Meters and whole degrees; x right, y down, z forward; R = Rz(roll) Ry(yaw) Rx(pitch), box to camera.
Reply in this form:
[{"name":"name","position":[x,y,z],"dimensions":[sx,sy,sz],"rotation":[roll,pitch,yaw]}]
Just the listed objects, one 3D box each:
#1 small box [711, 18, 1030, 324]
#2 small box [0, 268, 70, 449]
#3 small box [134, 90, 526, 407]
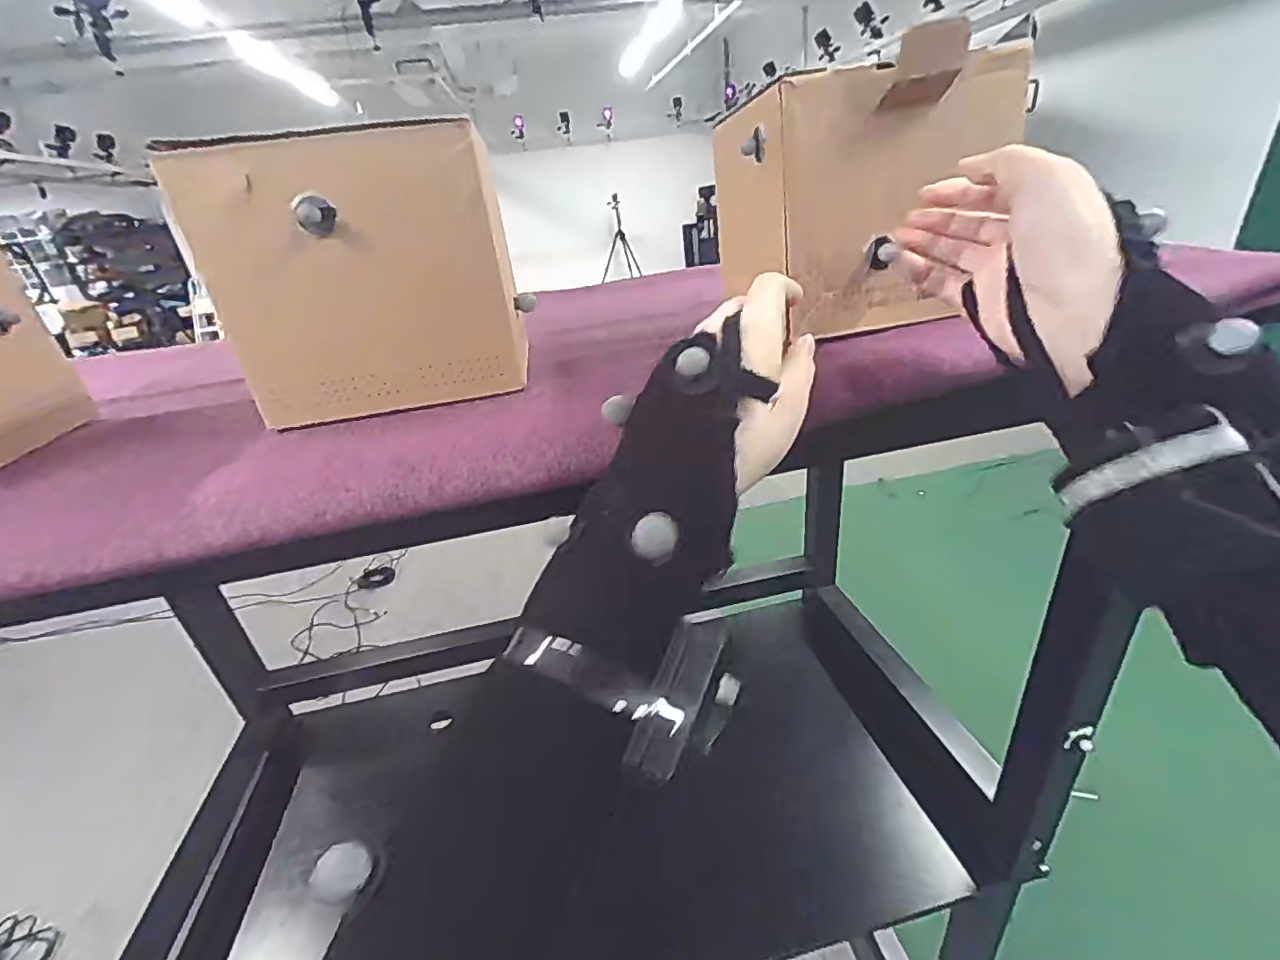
[{"name":"small box","position":[0.161,-0.229,0.436],"dimensions":[0.168,0.176,0.179],"rotation":[-11,26,-3]},{"name":"small box","position":[-0.524,-0.077,0.329],"dimensions":[0.168,0.176,0.179],"rotation":[-14,29,-9]},{"name":"small box","position":[-0.191,-0.161,0.402],"dimensions":[0.179,0.176,0.168],"rotation":[-10,26,-6]}]
